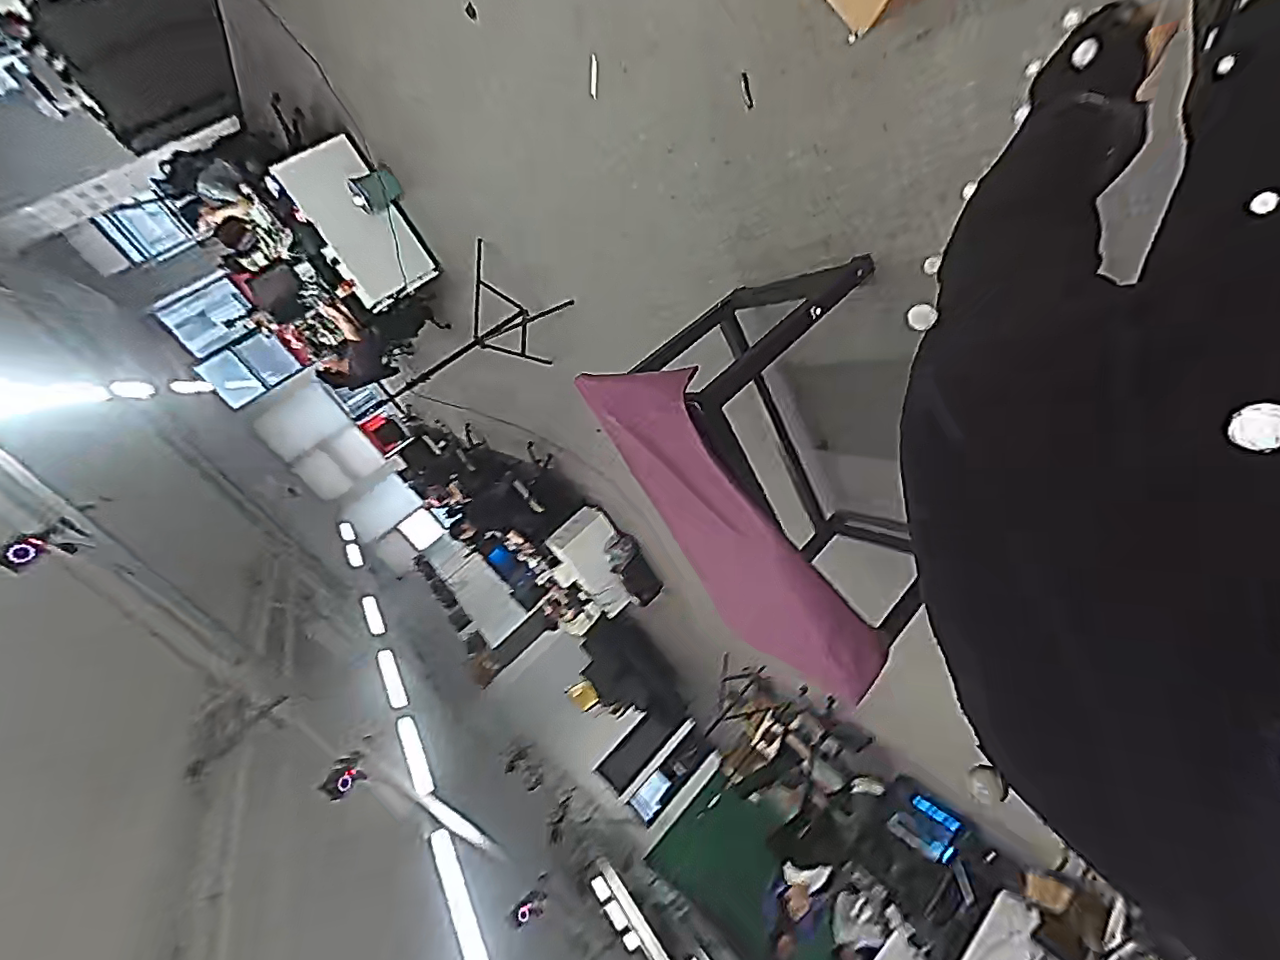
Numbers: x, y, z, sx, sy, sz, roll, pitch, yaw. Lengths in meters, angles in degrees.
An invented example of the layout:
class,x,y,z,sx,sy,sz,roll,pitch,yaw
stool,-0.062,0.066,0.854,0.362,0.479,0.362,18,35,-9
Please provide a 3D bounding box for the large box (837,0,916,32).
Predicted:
class,x,y,z,sx,sy,sz,roll,pitch,yaw
large box,0.442,-1.010,0.779,0.320,0.320,0.408,50,162,-1
